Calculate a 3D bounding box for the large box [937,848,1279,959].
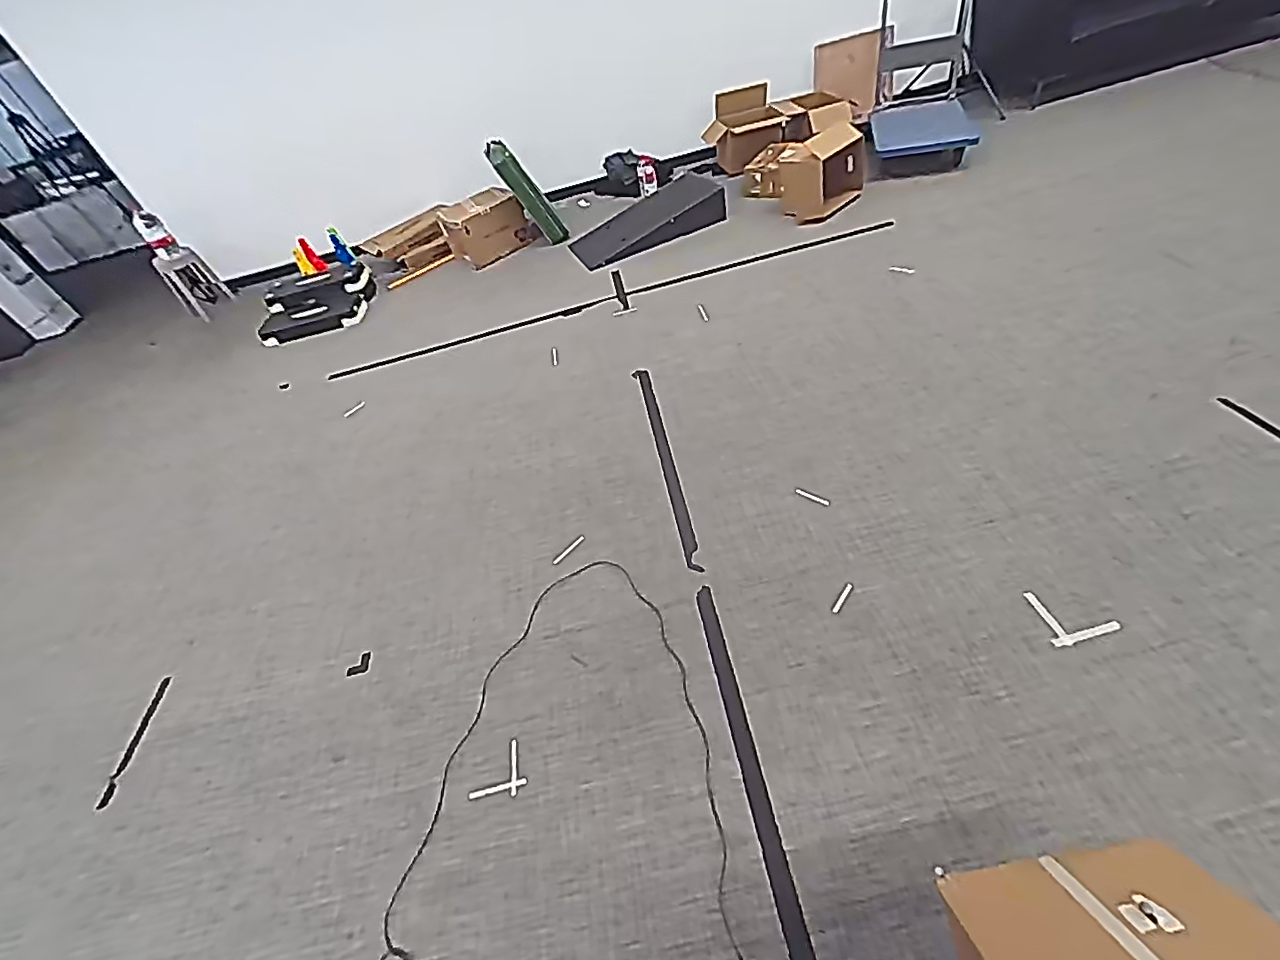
[{"bbox_3d":[0.603,0.692,0.576,0.320,0.408,0.320,-13,83,5],"label":"large box"}]
